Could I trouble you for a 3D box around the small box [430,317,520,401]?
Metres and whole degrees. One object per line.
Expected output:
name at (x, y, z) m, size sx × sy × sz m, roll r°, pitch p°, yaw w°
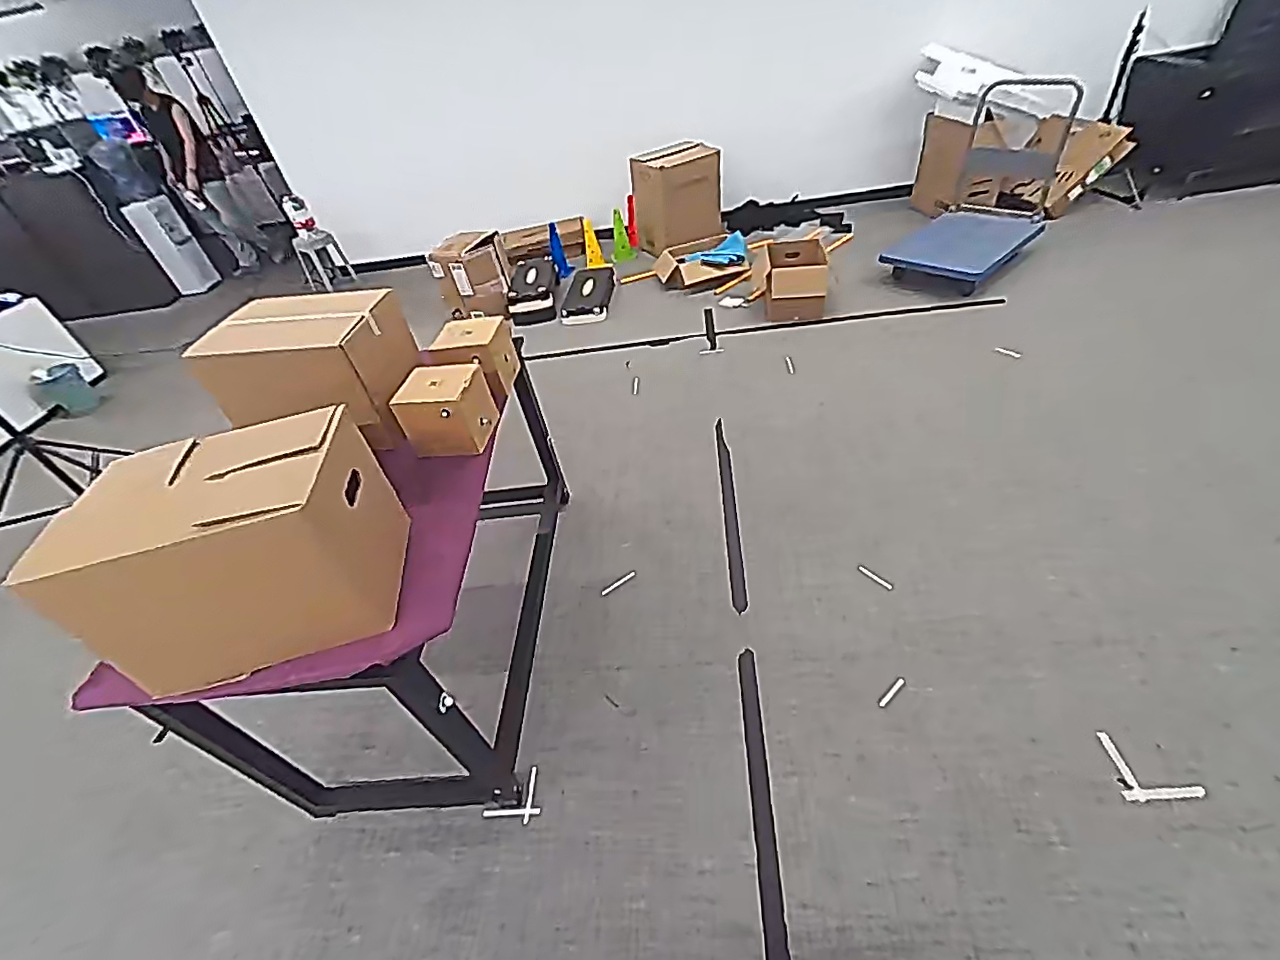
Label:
small box at (-0.459, -0.343, 1.544) m, size 0.179 × 0.176 × 0.168 m, roll -4°, pitch 41°, yaw 10°
